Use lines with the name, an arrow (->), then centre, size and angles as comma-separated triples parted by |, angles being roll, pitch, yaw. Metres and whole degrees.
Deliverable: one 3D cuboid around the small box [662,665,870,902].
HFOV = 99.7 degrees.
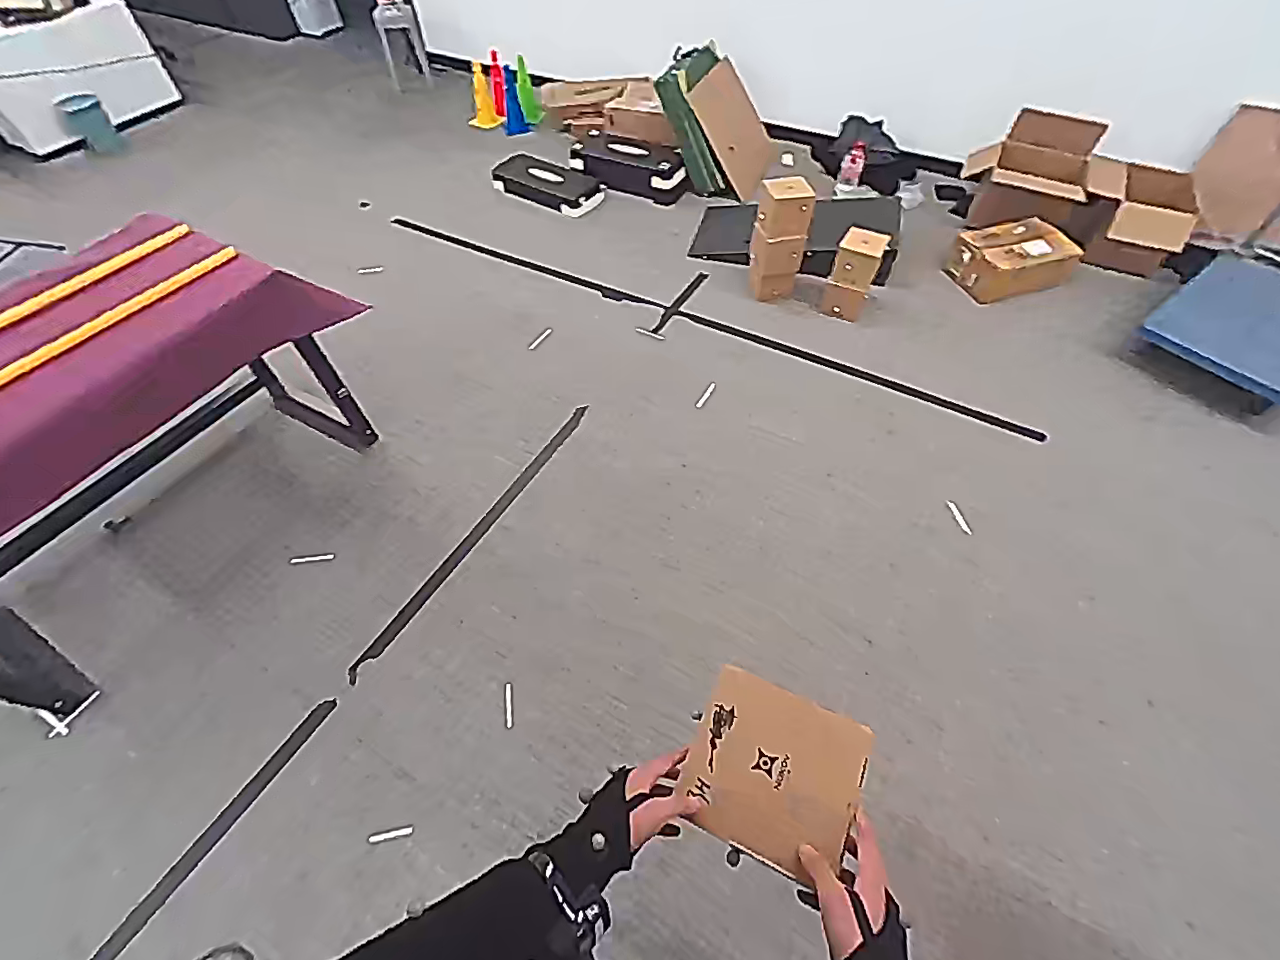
small box -> 0.140, 0.347, 0.634 | 0.179, 0.176, 0.168 | 21, 61, 17
